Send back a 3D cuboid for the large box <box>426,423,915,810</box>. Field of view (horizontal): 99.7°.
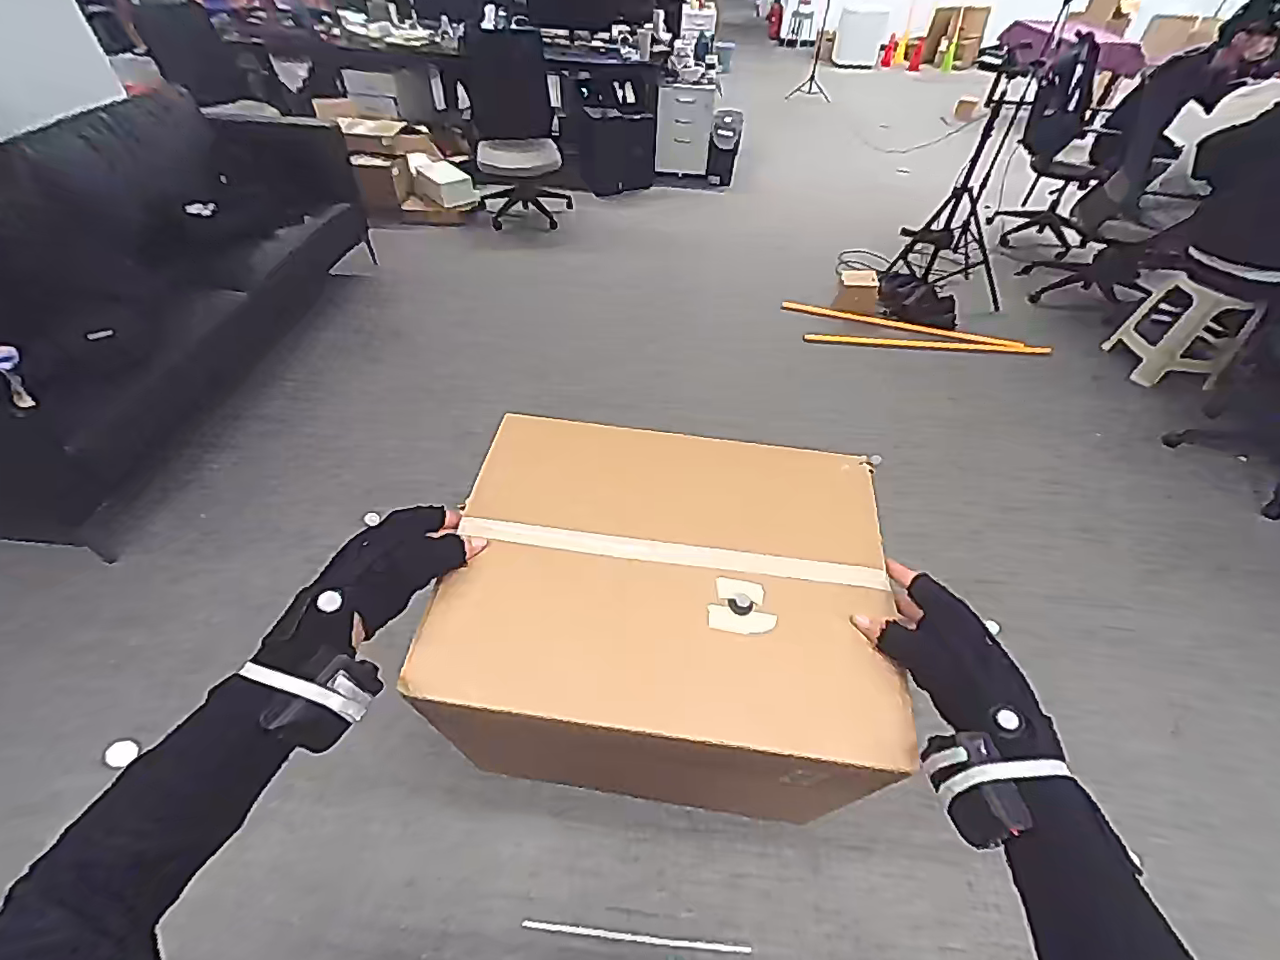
[{"bbox_3d":[0.030,0.167,0.637,0.408,0.320,0.320,8,52,2],"label":"large box"}]
